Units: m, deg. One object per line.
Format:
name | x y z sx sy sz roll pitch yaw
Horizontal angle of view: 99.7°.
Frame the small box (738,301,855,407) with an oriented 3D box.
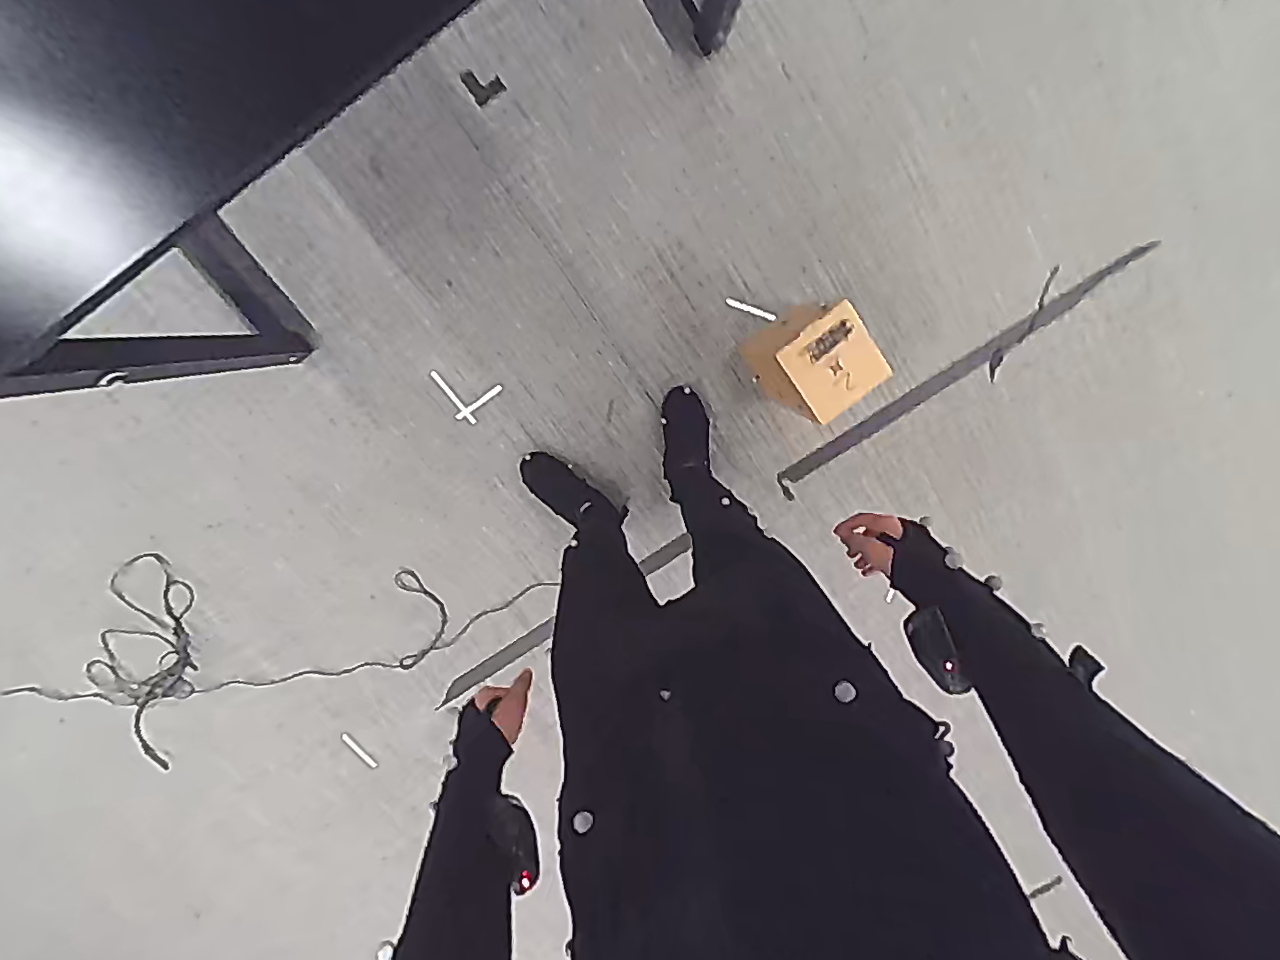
small box | 0.352 -0.294 1.247 0.179 0.176 0.168 -35 105 7
